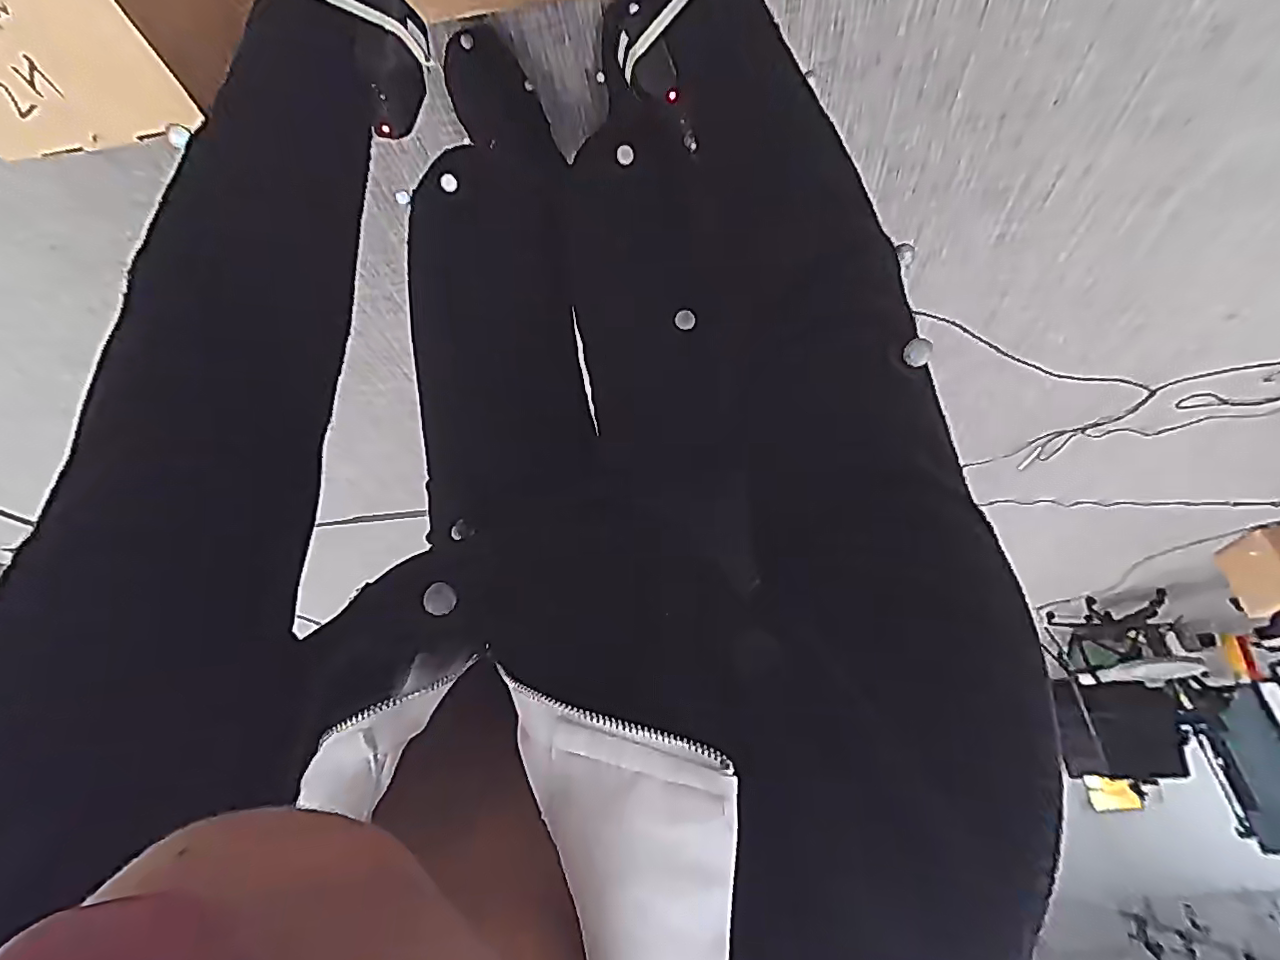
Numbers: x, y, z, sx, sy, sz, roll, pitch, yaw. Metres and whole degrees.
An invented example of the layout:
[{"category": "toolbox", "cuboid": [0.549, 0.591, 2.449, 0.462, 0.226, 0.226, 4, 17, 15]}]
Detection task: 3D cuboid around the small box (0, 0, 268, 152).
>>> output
[{"category": "small box", "cuboid": [-0.392, -0.355, 0.348, 0.168, 0.176, 0.179, -6, 151, 5]}]
